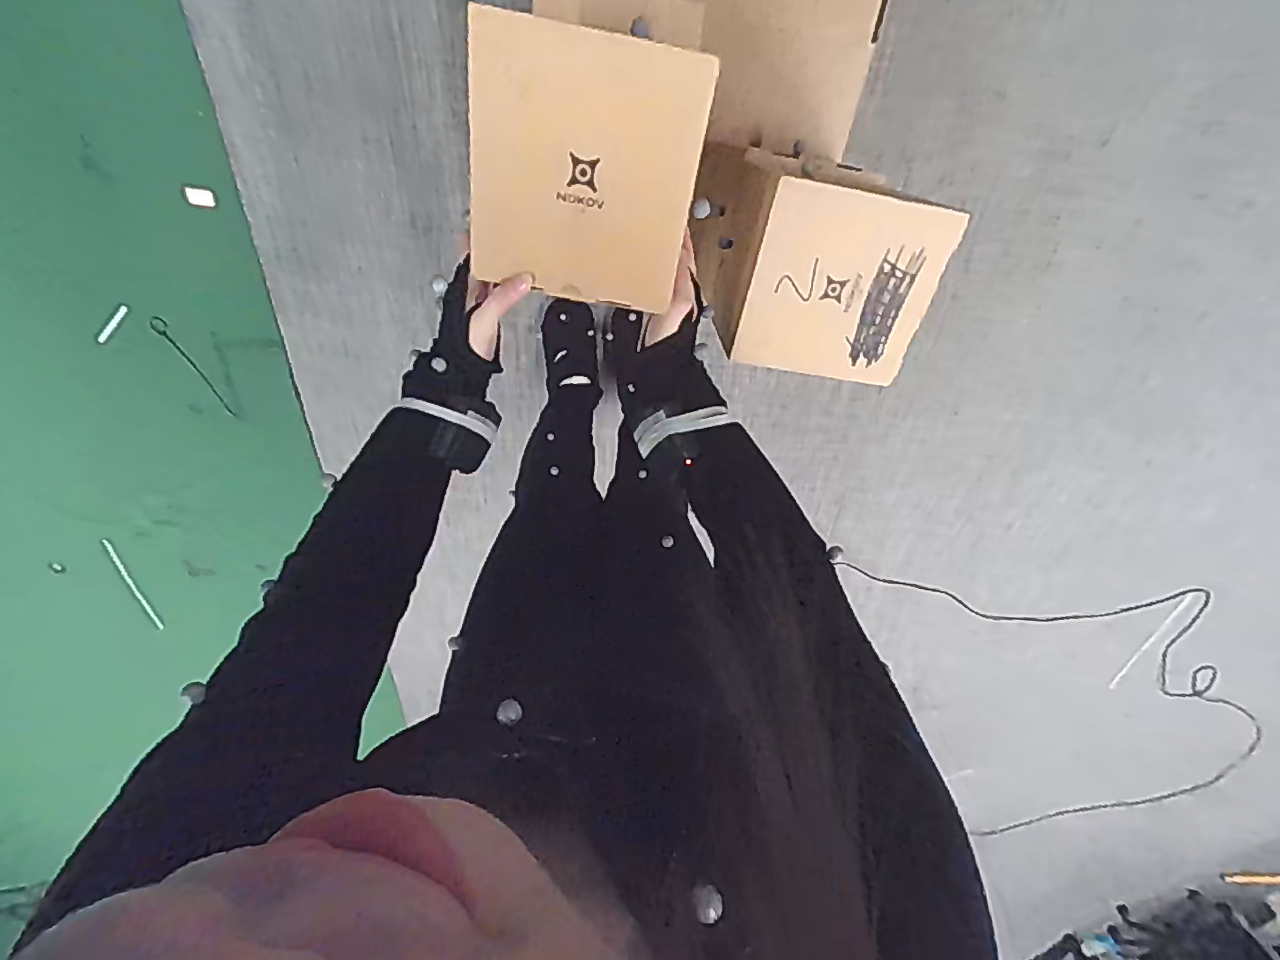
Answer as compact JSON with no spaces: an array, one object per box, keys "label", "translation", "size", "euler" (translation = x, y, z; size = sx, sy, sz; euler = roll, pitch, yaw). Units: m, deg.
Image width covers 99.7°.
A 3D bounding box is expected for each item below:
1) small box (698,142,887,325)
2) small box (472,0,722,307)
[{"label":"small box","translation":[0.176,-0.320,0.694],"size":[0.168,0.176,0.179],"euler":[7,122,-6]},{"label":"small box","translation":[-0.037,-0.273,0.459],"size":[0.168,0.176,0.179],"euler":[10,127,-3]}]
